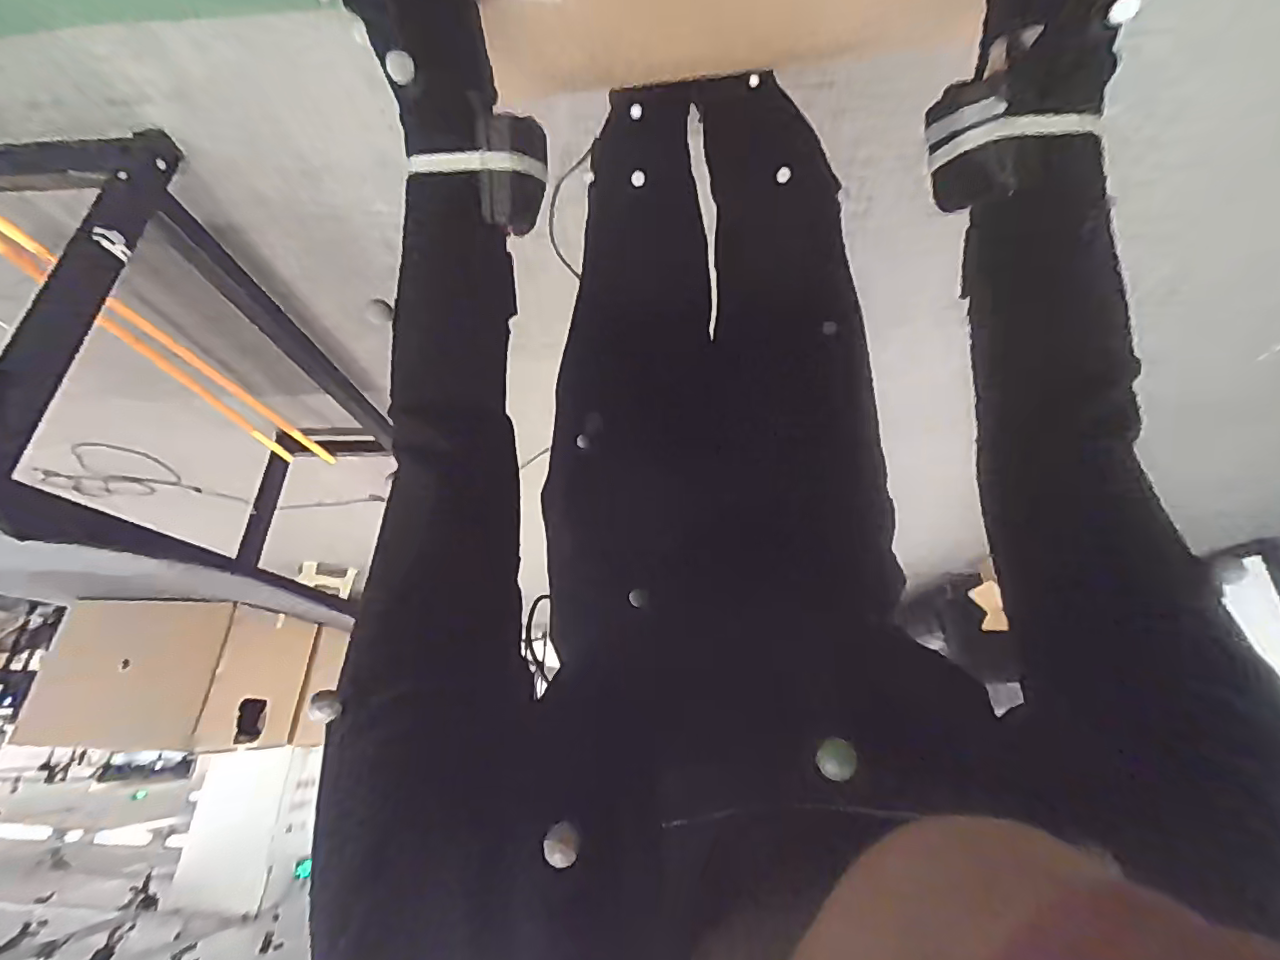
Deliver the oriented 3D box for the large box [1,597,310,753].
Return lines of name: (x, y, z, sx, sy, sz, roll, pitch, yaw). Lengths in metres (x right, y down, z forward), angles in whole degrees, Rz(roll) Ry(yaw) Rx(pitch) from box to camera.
large box: (-1.097, 0.464, 1.281, 0.408, 0.320, 0.320, -1, 156, 4)
